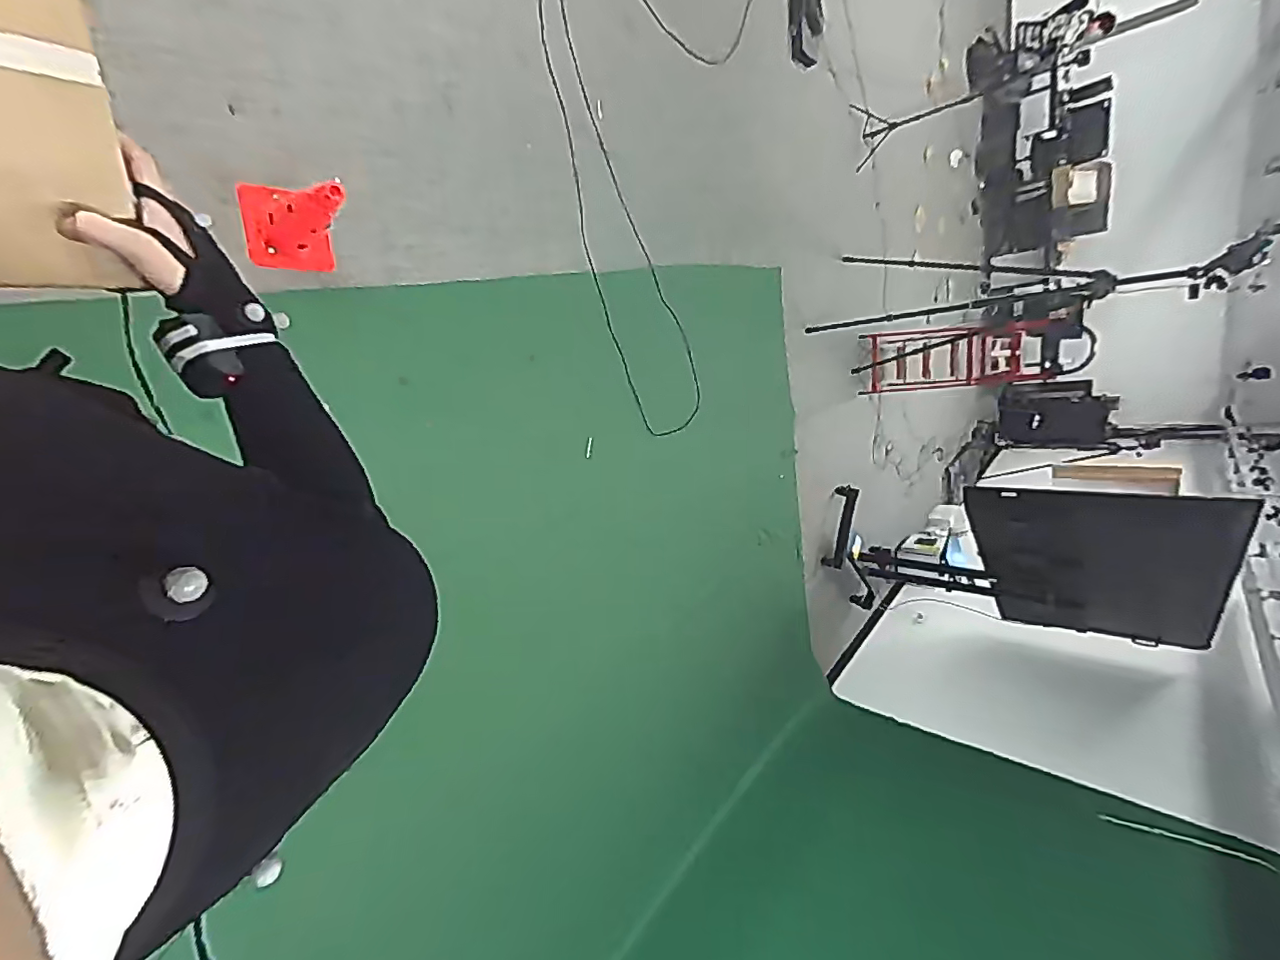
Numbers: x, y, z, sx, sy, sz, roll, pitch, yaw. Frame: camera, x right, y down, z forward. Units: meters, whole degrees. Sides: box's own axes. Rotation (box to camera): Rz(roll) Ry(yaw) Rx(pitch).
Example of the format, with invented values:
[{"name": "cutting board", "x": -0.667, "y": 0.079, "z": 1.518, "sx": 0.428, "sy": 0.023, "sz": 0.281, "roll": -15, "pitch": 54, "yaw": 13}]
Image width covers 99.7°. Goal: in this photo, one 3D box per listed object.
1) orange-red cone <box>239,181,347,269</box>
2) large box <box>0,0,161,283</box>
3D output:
[{"name": "orange-red cone", "x": -0.793, "y": -0.648, "z": 1.303, "sx": 0.199, "sy": 0.360, "sz": 0.198, "roll": -16, "pitch": 107, "yaw": -47}, {"name": "large box", "x": -0.658, "y": -0.317, "z": 0.373, "sx": 0.408, "sy": 0.320, "sz": 0.320, "roll": -20, "pitch": 125, "yaw": -44}]
